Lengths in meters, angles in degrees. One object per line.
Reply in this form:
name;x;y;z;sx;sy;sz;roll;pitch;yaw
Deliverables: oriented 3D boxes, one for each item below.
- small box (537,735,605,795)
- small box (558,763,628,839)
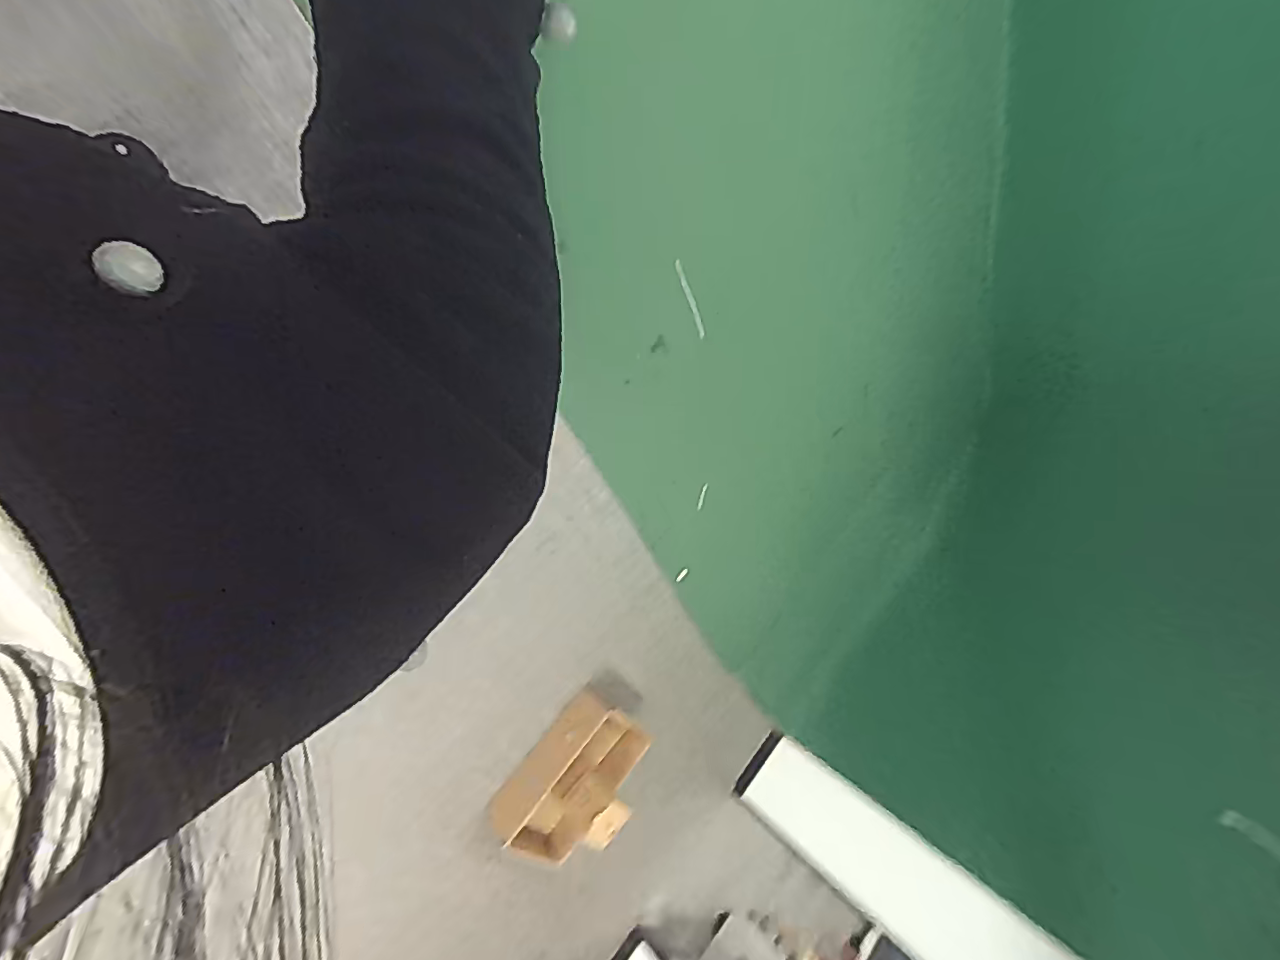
small box;-0.281;1.162;2.176;0.168;0.176;0.179;-48;135;-16
small box;-0.182;1.213;2.056;0.168;0.176;0.179;-46;133;-18
